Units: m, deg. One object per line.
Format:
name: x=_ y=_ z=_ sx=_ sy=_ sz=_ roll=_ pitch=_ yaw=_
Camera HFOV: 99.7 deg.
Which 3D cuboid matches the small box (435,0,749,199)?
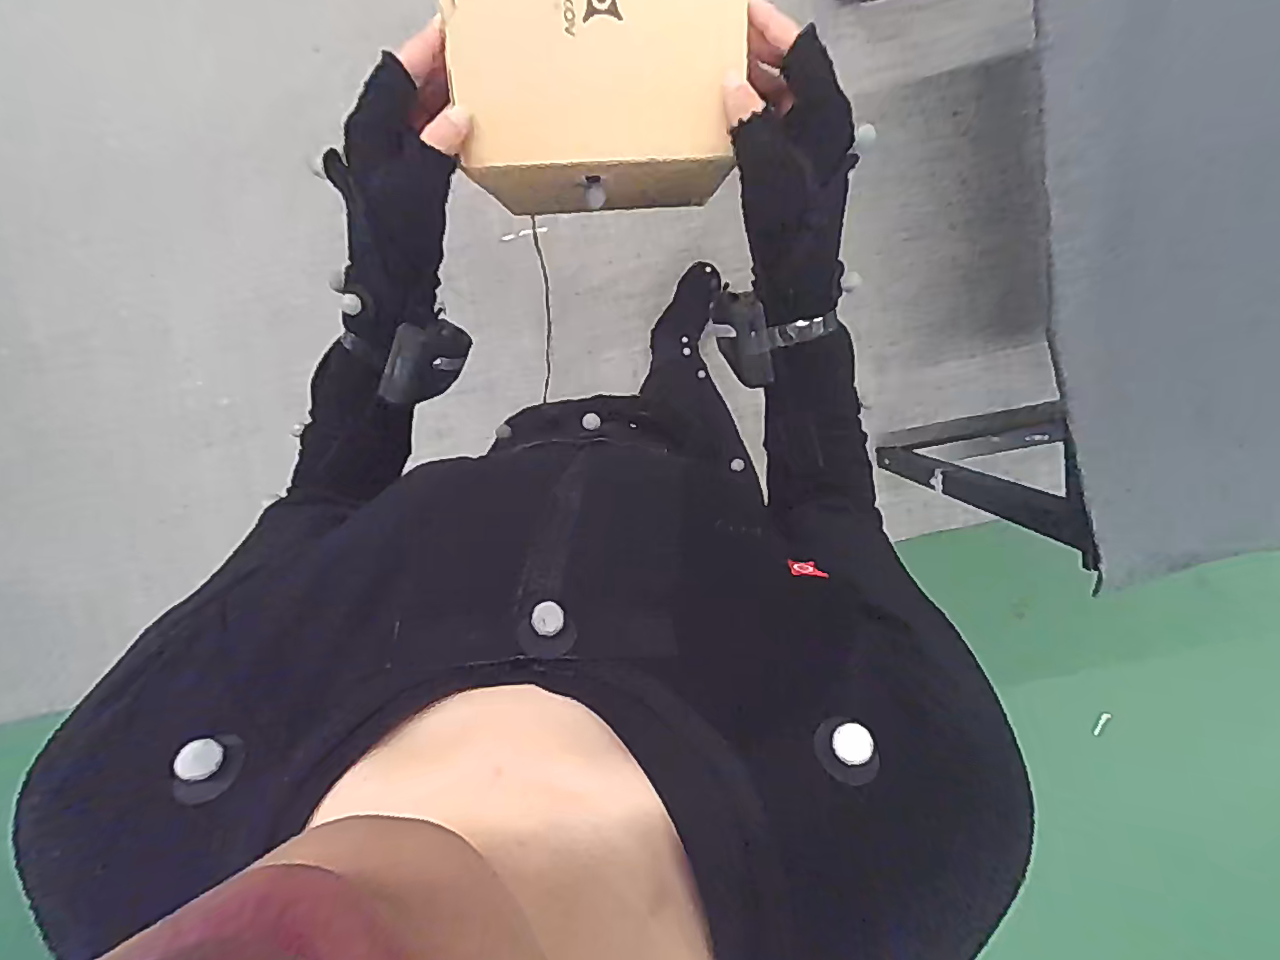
small box: x=-0.028 y=-0.300 z=0.371 sx=0.179 sy=0.176 sz=0.168 roll=-2 pitch=108 yaw=0
